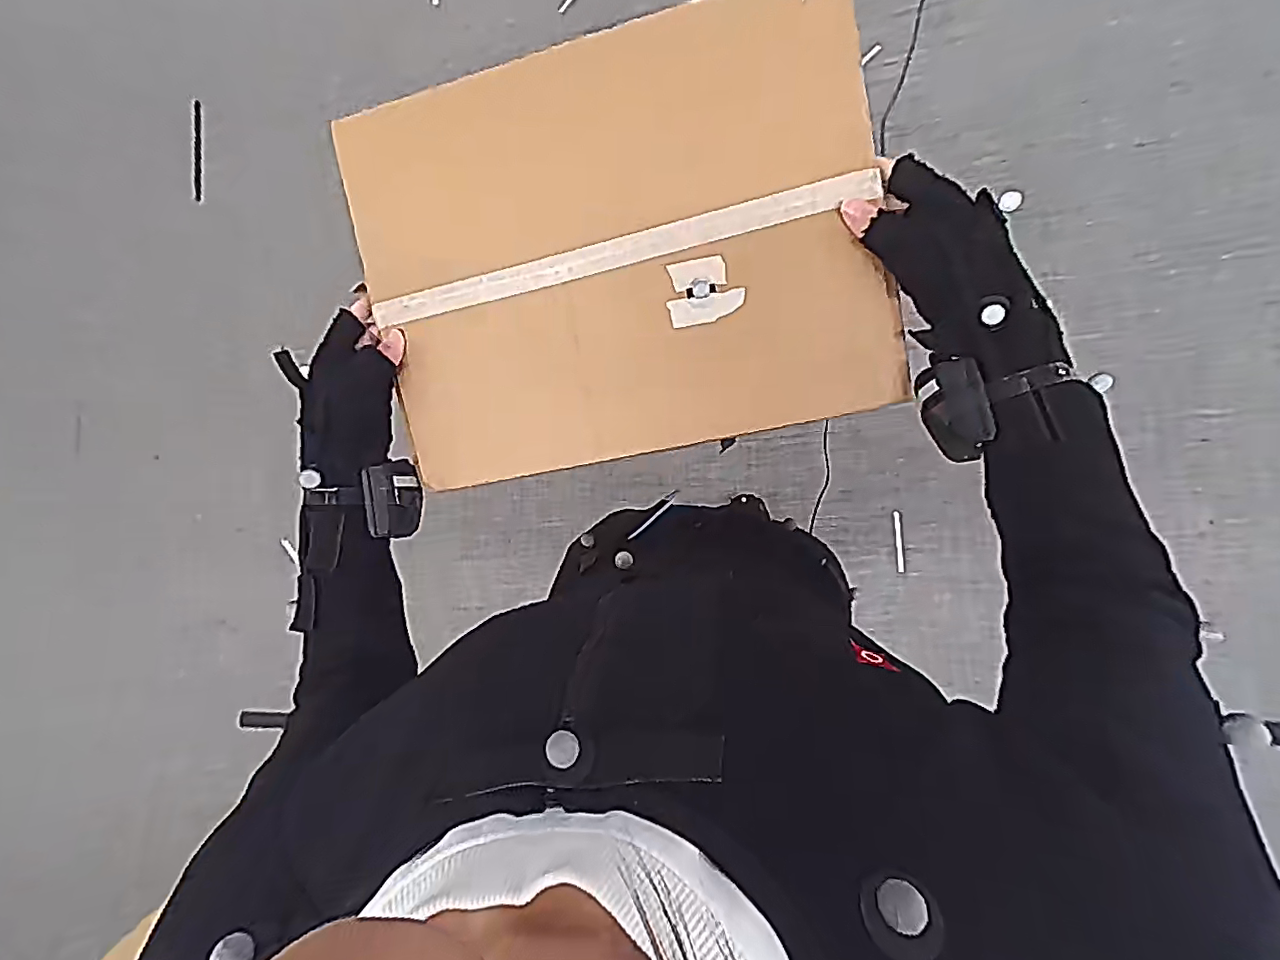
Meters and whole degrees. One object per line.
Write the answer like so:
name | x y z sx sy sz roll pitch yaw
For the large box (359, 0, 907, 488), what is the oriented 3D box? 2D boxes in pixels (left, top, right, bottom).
large box | 0.004 -0.196 0.580 0.408 0.320 0.320 -11 96 9
